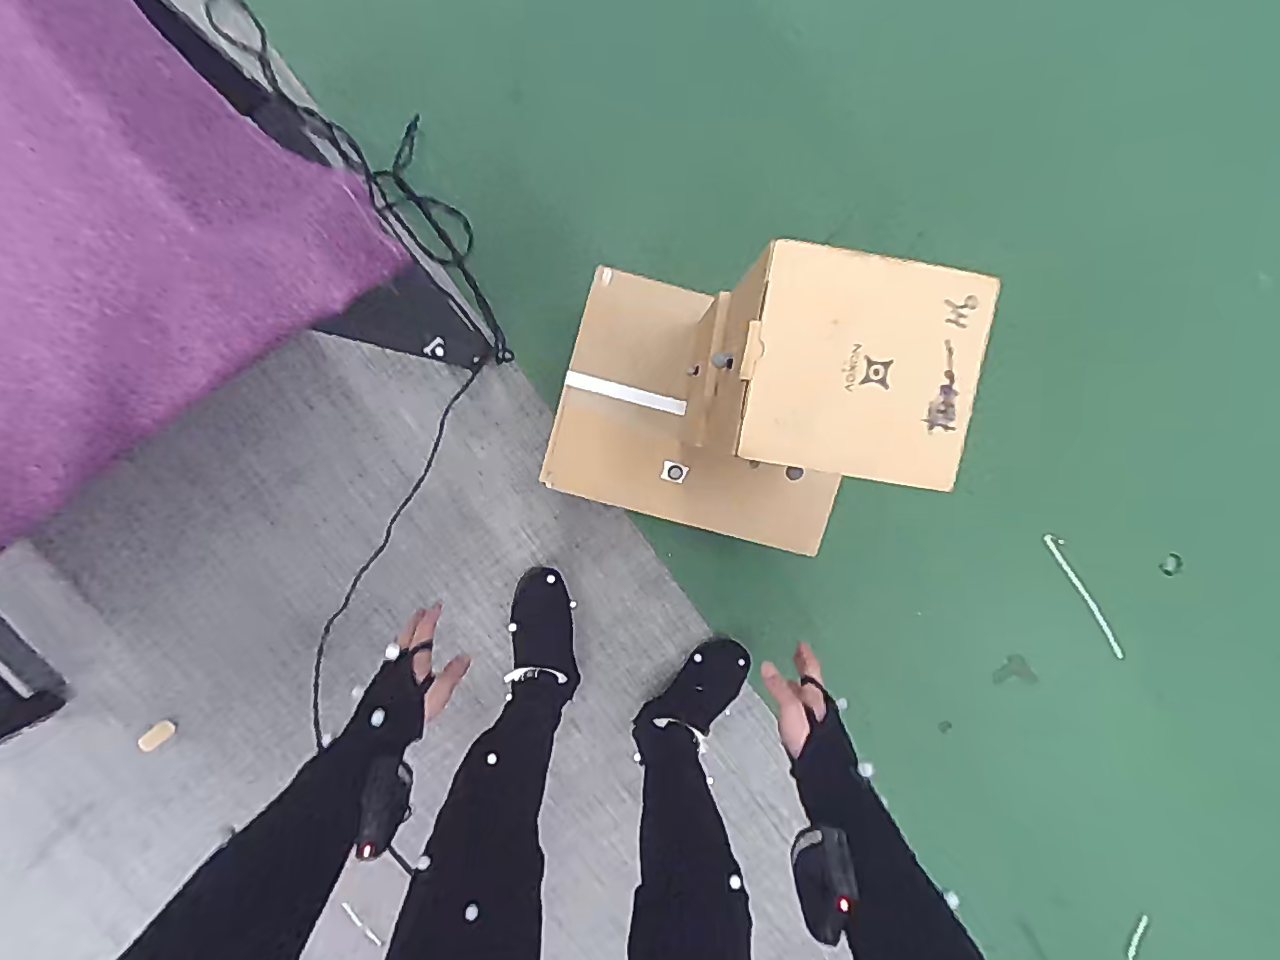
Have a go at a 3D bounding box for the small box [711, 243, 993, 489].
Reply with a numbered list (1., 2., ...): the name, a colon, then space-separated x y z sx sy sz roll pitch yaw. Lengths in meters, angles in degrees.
1. small box: 0.169 -0.093 0.494 0.179 0.176 0.168 10 95 -1
